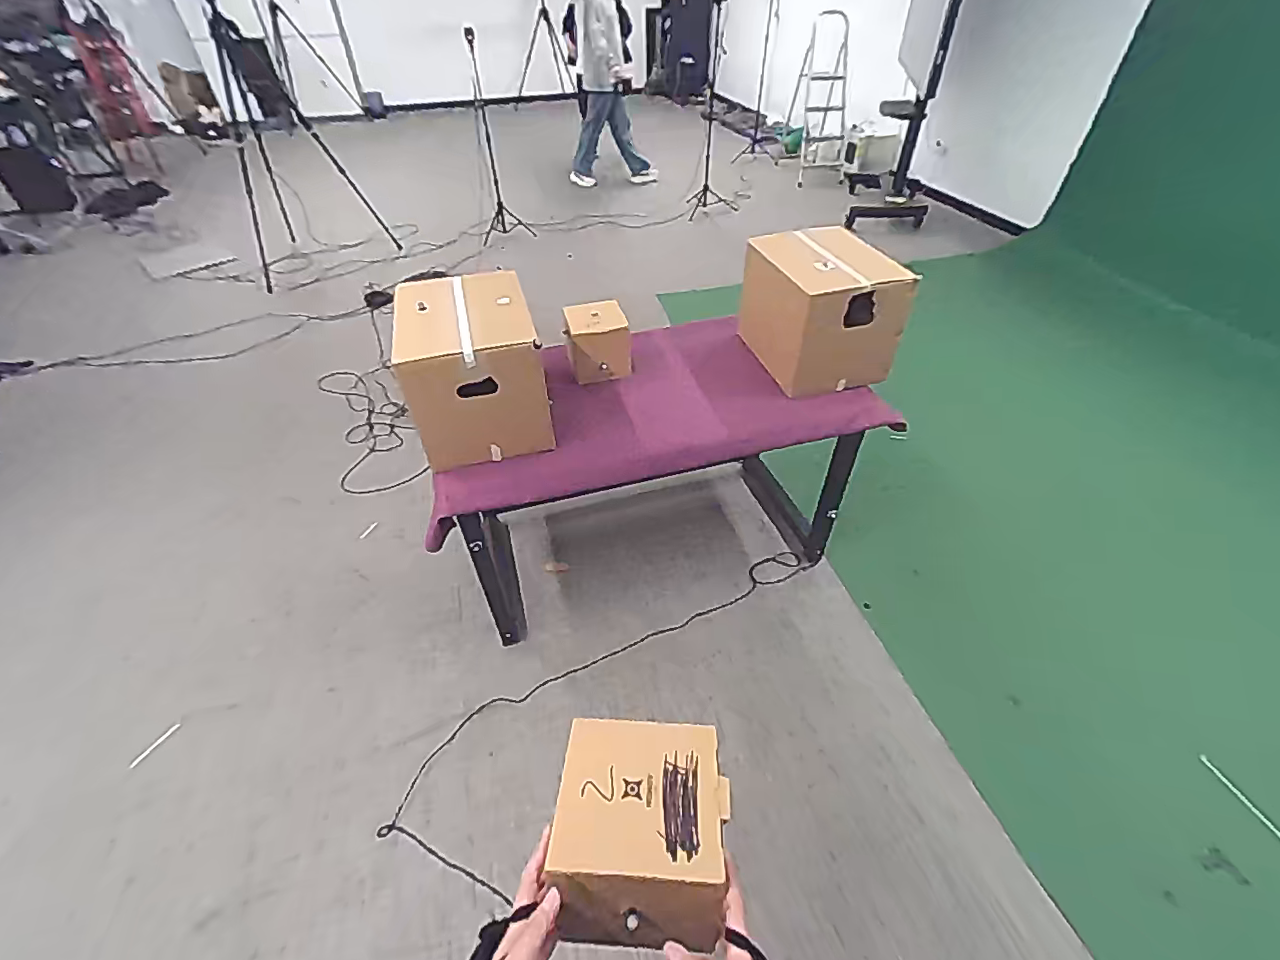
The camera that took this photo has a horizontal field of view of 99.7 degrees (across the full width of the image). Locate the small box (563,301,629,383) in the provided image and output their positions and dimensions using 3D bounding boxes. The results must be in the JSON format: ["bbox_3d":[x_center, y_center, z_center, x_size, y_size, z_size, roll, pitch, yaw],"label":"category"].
[{"bbox_3d":[-0.130,-0.410,1.608,0.168,0.176,0.179,-11,45,-10],"label":"small box"}]

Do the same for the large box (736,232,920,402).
[{"bbox_3d":[0.513,-0.487,1.582,0.320,0.320,0.408,-12,45,-9],"label":"large box"}]
